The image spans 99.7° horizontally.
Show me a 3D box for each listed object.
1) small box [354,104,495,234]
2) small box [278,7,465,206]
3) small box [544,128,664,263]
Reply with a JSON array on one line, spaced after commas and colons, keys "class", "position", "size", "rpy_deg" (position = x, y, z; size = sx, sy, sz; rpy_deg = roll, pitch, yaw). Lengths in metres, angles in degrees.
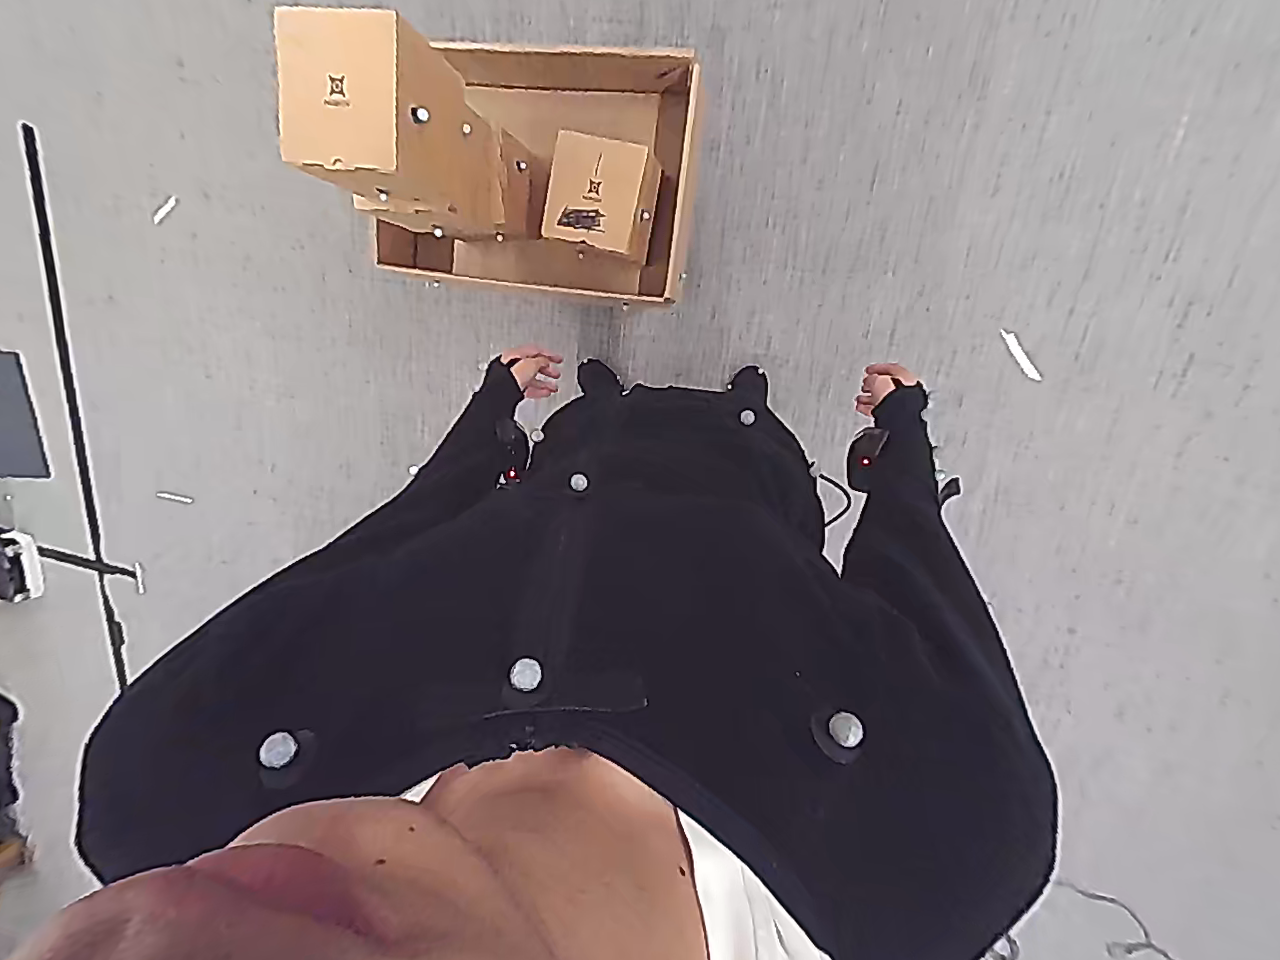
[{"class": "small box", "position": [-0.353, -0.525, 0.904], "size": [0.168, 0.176, 0.179], "rpy_deg": [5, 105, 9]}, {"class": "small box", "position": [-0.355, -0.496, 0.741], "size": [0.168, 0.176, 0.179], "rpy_deg": [8, 105, 8]}, {"class": "small box", "position": [-0.061, -0.519, 1.012], "size": [0.168, 0.176, 0.179], "rpy_deg": [16, 107, 8]}]
